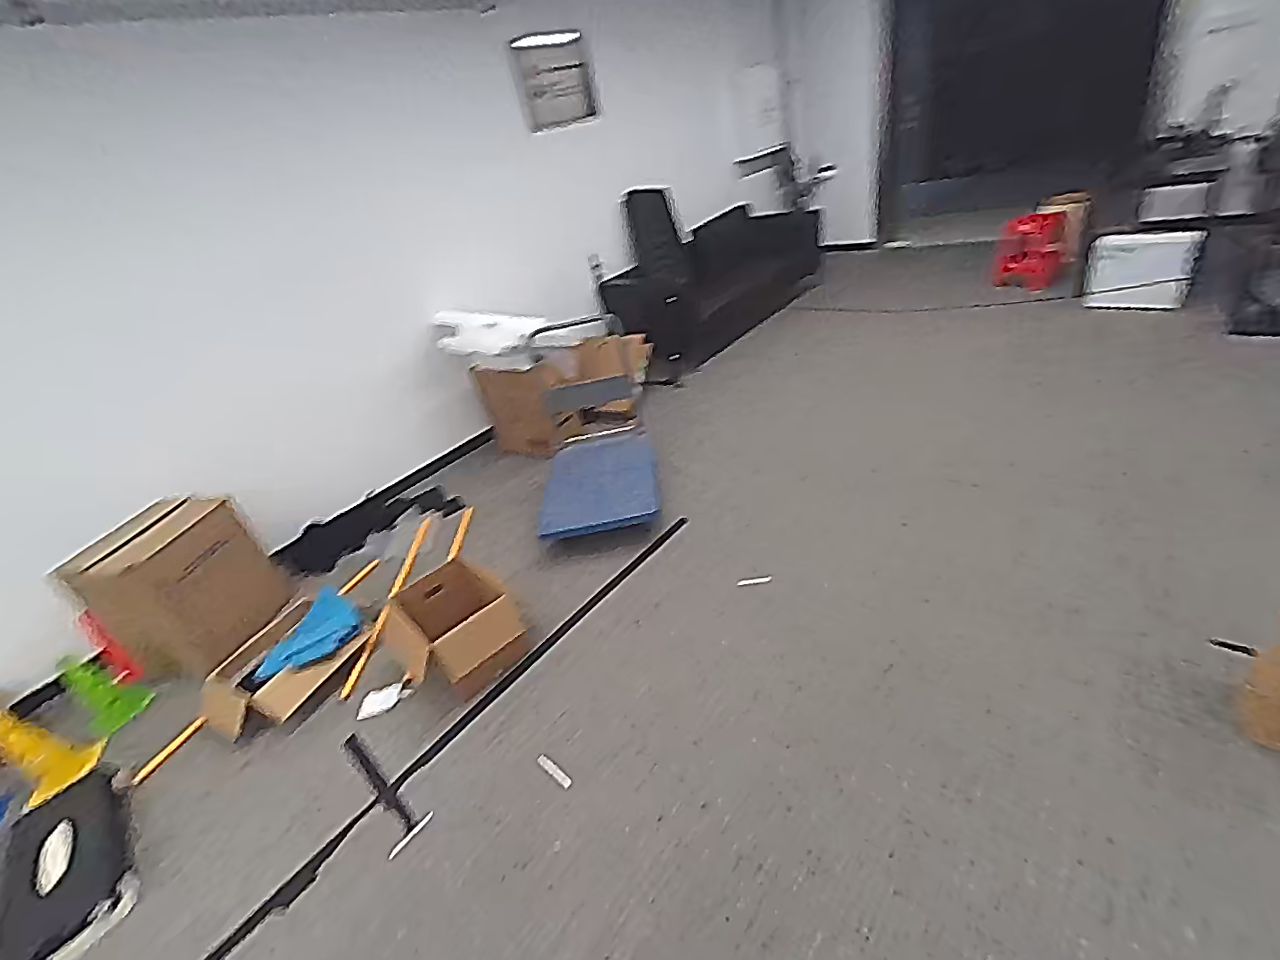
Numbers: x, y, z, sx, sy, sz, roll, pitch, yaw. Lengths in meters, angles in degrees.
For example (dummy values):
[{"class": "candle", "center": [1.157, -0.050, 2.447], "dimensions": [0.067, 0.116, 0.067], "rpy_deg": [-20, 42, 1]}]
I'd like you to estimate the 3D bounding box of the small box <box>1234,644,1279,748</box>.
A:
[{"class": "small box", "center": [1.607, 0.544, 1.325], "dimensions": [0.168, 0.176, 0.179], "rpy_deg": [11, 39, 36]}]
